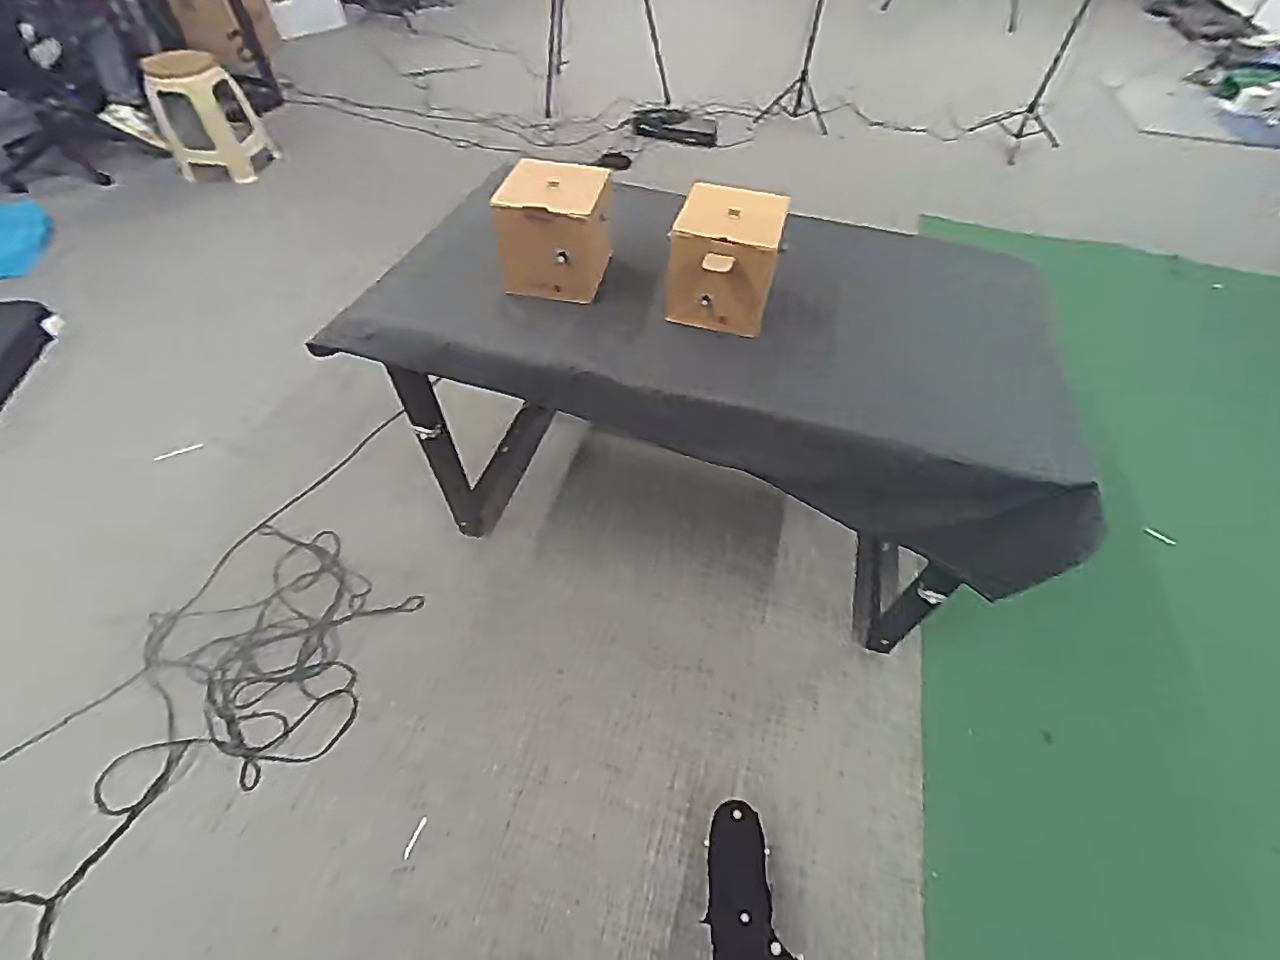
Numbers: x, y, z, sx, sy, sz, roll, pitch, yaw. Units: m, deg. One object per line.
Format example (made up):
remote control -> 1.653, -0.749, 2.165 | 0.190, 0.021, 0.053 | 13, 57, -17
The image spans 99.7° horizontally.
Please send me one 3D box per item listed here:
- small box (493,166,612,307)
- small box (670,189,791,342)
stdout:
small box -> -0.147, -0.437, 0.980 | 0.168, 0.176, 0.179 | 10, 51, 4
small box -> 0.152, -0.372, 0.940 | 0.168, 0.176, 0.179 | 14, 53, 8
